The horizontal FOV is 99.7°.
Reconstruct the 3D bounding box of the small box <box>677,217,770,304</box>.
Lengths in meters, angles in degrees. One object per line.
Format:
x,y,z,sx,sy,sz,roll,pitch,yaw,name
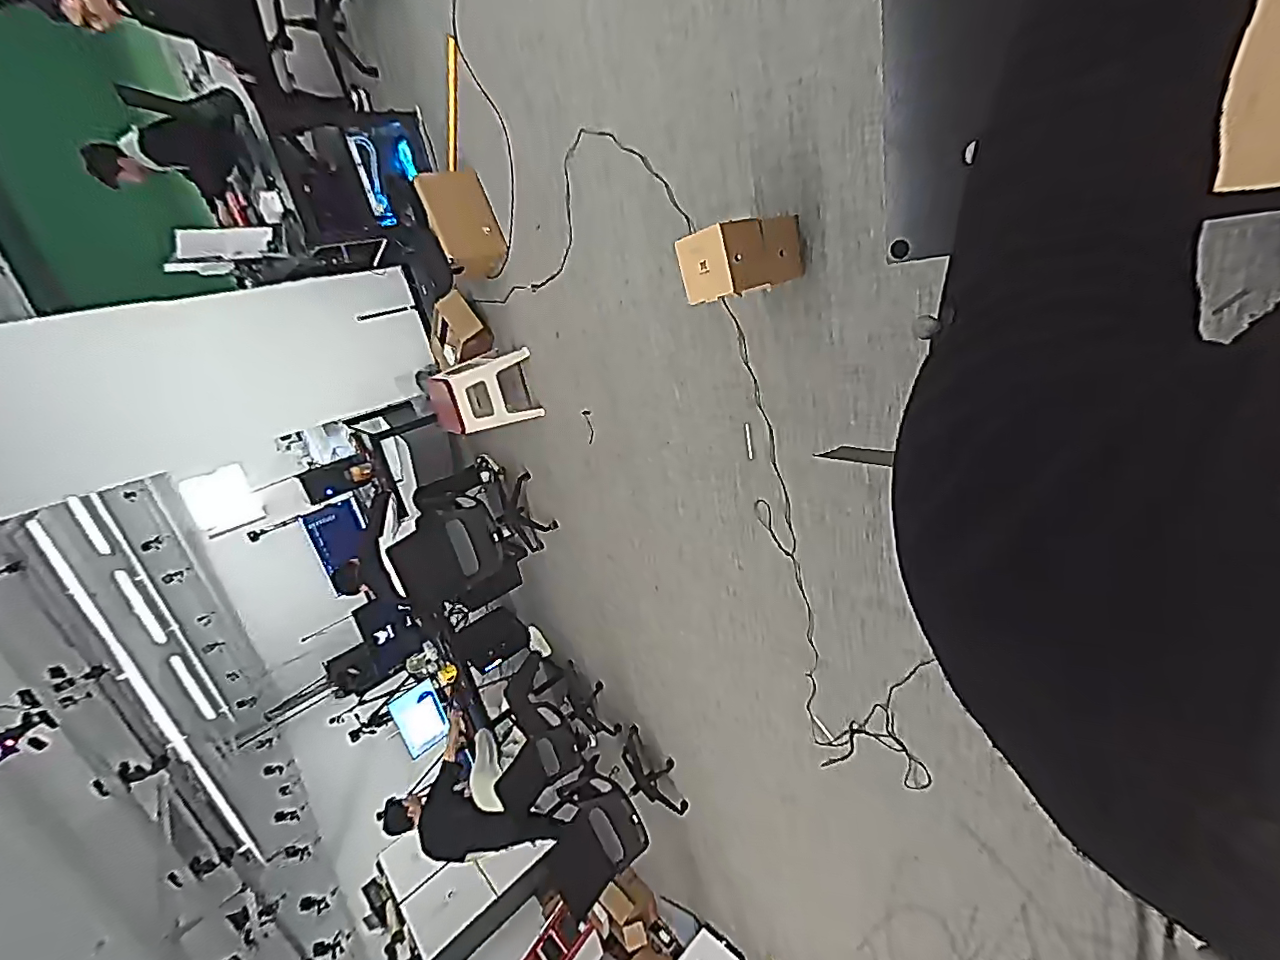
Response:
0.233,-0.597,1.471,0.168,0.176,0.179,4,114,50,small box

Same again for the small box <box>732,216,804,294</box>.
0.353,-0.653,1.564,0.168,0.176,0.179,9,119,49,small box
